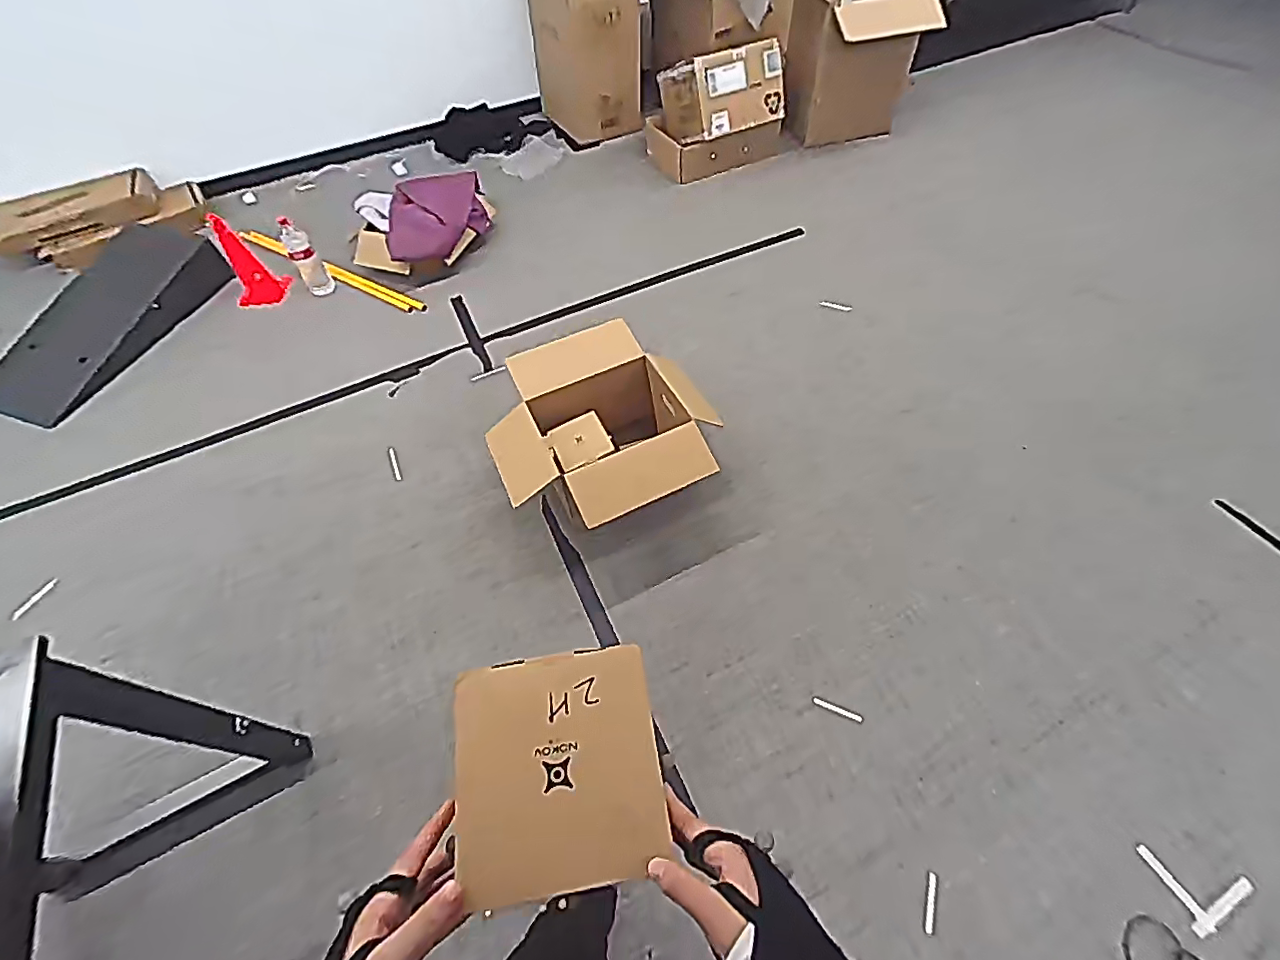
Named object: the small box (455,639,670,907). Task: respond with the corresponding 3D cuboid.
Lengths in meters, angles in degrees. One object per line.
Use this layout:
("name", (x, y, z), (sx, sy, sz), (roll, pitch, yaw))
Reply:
("small box", (-0.068, 0.270, 0.512), (0.168, 0.176, 0.179), (-8, 57, -6))
